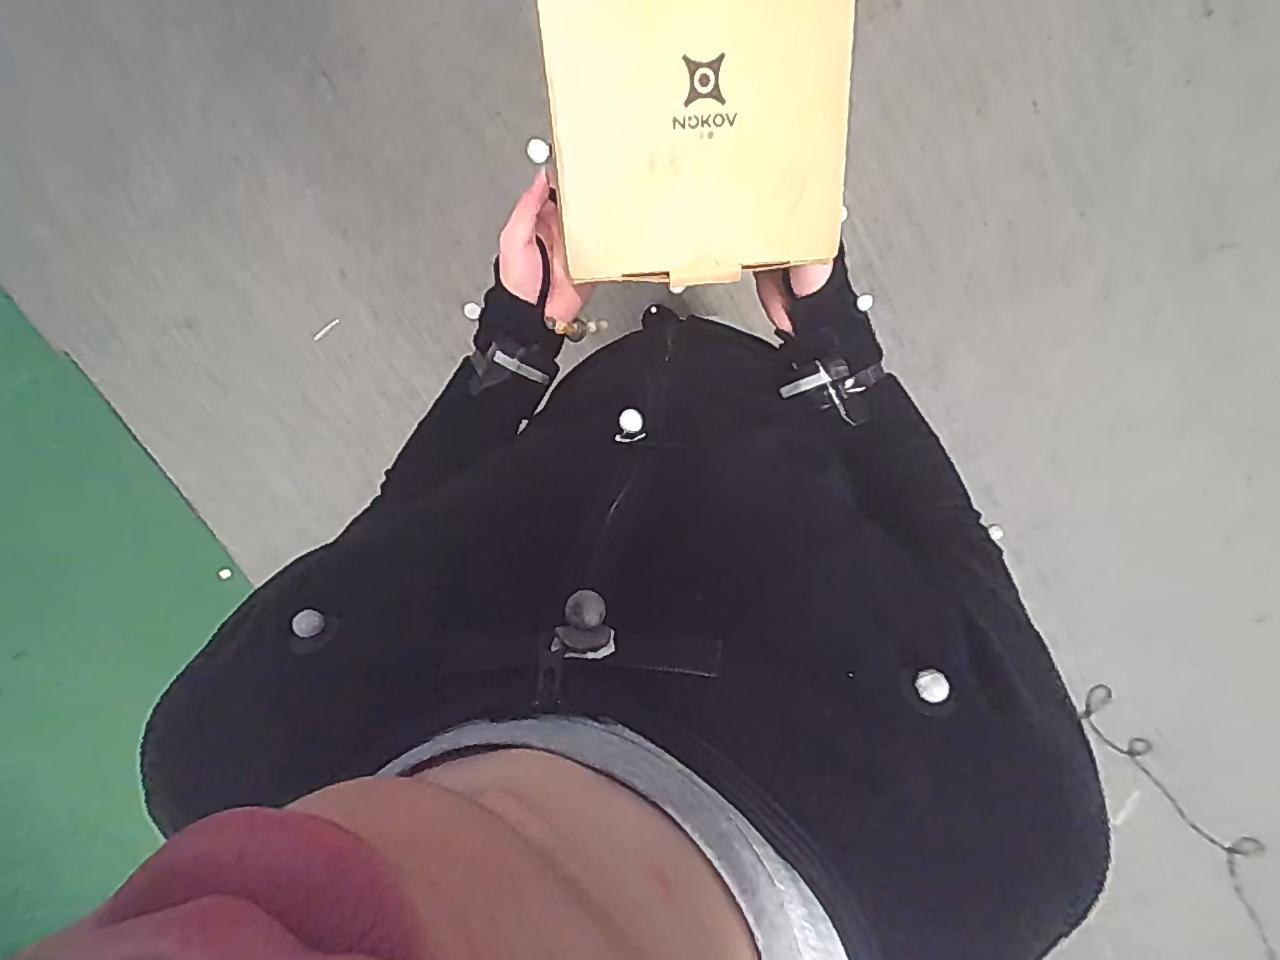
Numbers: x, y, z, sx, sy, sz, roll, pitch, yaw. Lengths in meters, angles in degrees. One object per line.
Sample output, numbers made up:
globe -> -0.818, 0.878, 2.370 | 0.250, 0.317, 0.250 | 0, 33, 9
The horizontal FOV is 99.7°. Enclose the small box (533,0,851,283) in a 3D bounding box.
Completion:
small box -> 0.020, -0.237, 0.363 | 0.168, 0.176, 0.179 | -7, 115, -6
